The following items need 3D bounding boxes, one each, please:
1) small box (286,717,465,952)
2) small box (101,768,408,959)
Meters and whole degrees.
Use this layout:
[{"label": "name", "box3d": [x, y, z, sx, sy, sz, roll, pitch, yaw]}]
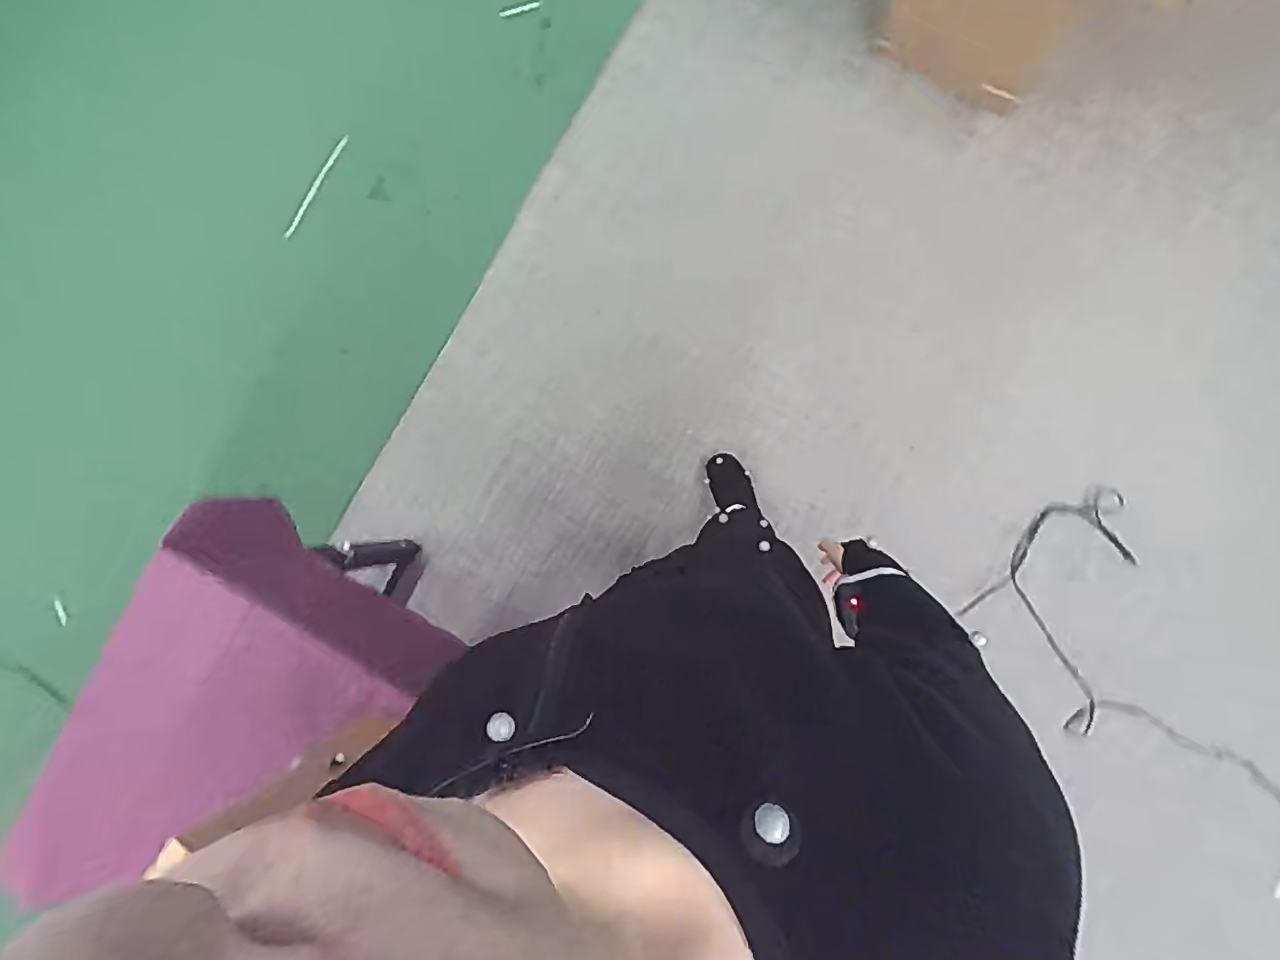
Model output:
[{"label": "small box", "box3d": [-0.371, 0.455, 0.730, 0.179, 0.176, 0.168, 28, 91, 9]}, {"label": "small box", "box3d": [-0.386, 0.446, 0.566, 0.179, 0.176, 0.168, 33, 91, 8]}]
